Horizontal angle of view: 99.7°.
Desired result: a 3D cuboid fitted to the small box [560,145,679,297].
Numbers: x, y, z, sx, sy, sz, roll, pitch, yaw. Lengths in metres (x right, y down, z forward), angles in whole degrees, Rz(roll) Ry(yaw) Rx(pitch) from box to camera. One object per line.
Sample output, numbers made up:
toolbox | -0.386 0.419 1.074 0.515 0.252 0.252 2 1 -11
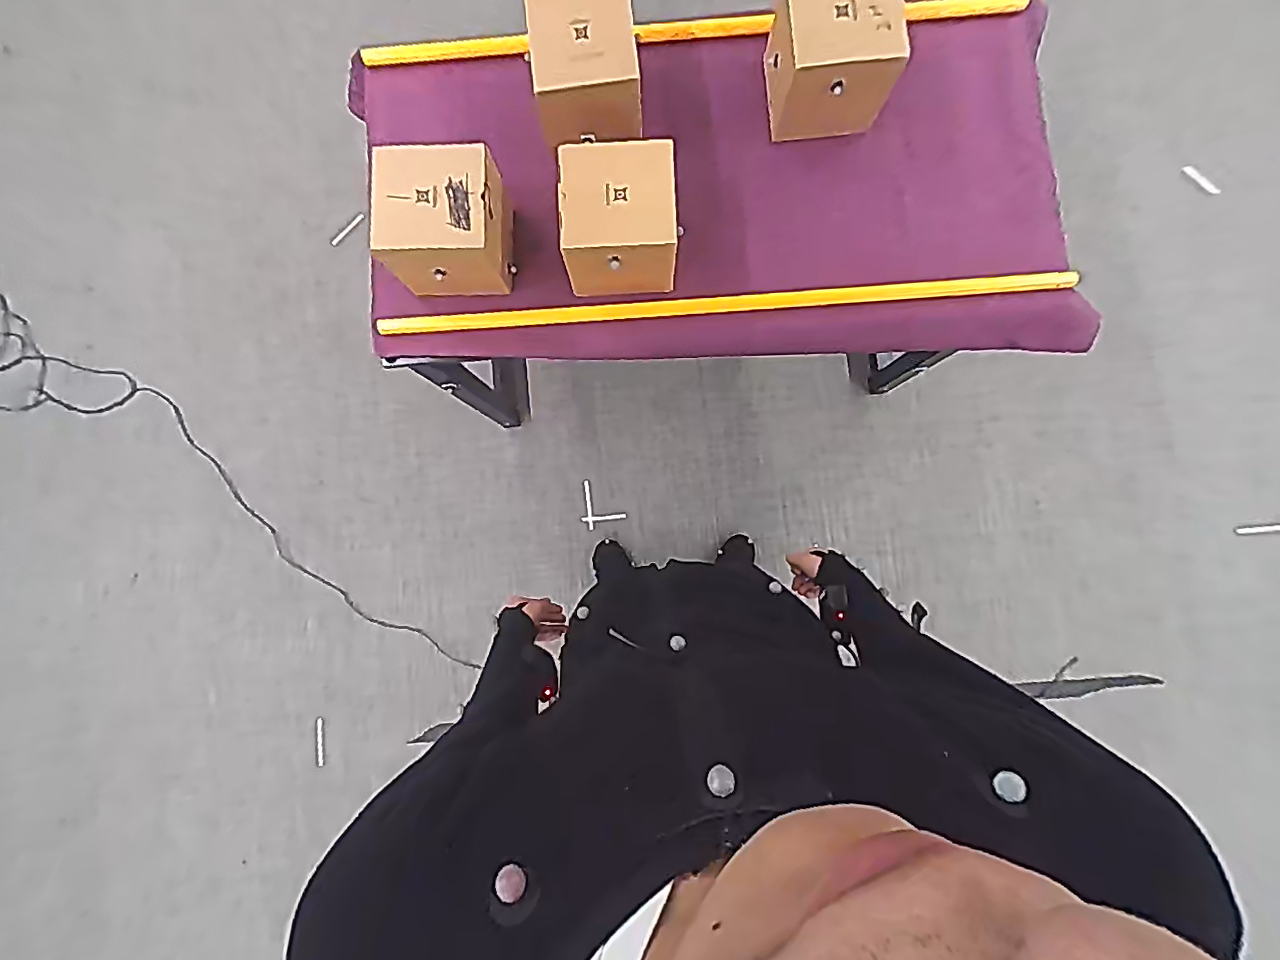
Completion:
small box | -0.030 -0.413 0.886 0.179 0.176 0.168 -2 85 2

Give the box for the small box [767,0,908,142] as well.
small box | 0.313 -0.696 0.898 0.179 0.176 0.168 -5 87 1

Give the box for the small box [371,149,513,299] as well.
small box | -0.313 -0.410 0.890 0.179 0.176 0.168 0 85 1

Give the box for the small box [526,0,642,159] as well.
small box | -0.087 -0.676 0.909 0.168 0.176 0.179 -7 86 2
